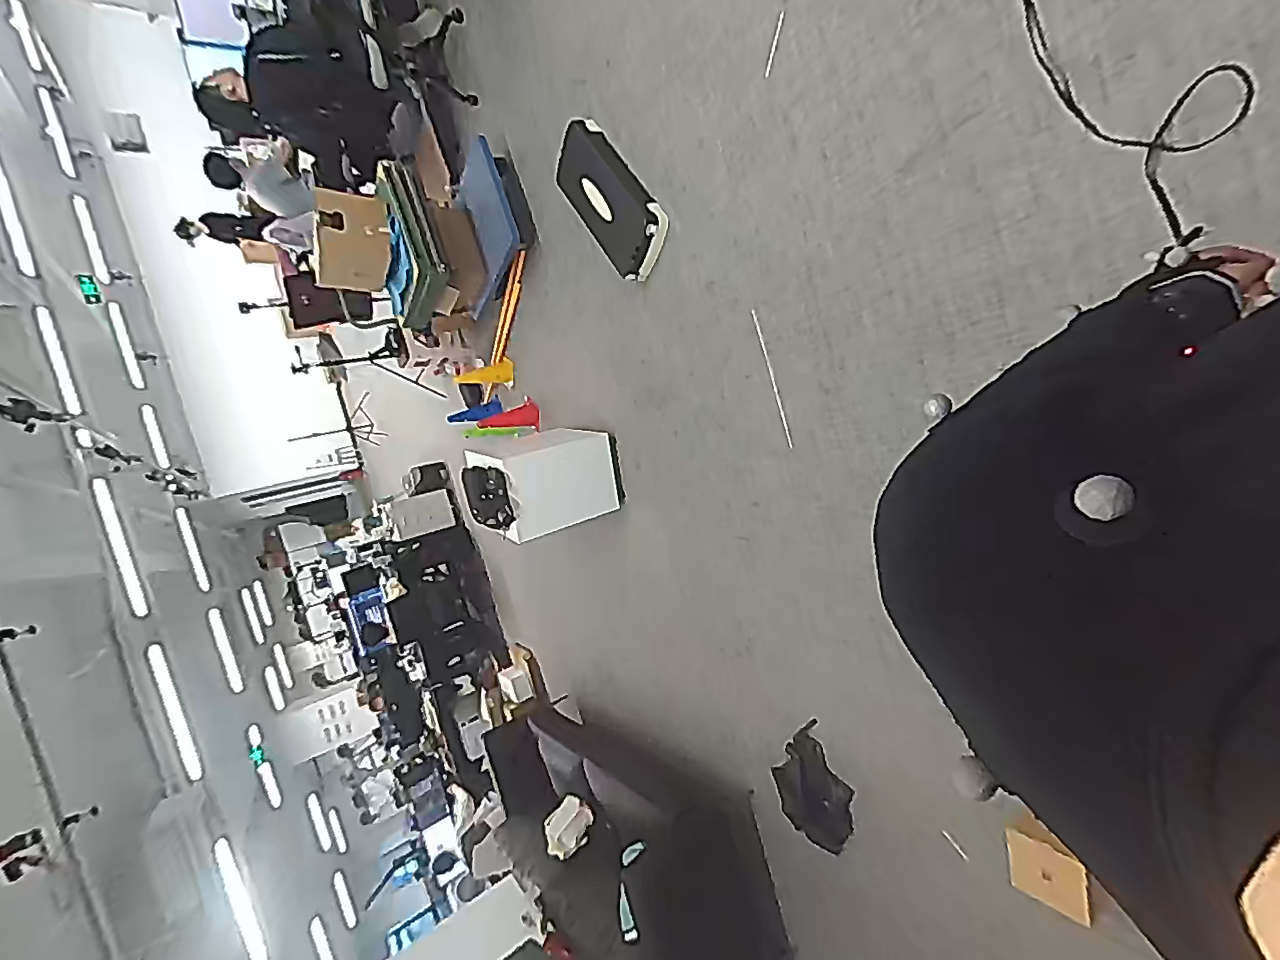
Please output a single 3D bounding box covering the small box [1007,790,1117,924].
[{"bbox_3d":[1.041,0.914,1.333,0.168,0.176,0.179,1,107,58],"label":"small box"}]
